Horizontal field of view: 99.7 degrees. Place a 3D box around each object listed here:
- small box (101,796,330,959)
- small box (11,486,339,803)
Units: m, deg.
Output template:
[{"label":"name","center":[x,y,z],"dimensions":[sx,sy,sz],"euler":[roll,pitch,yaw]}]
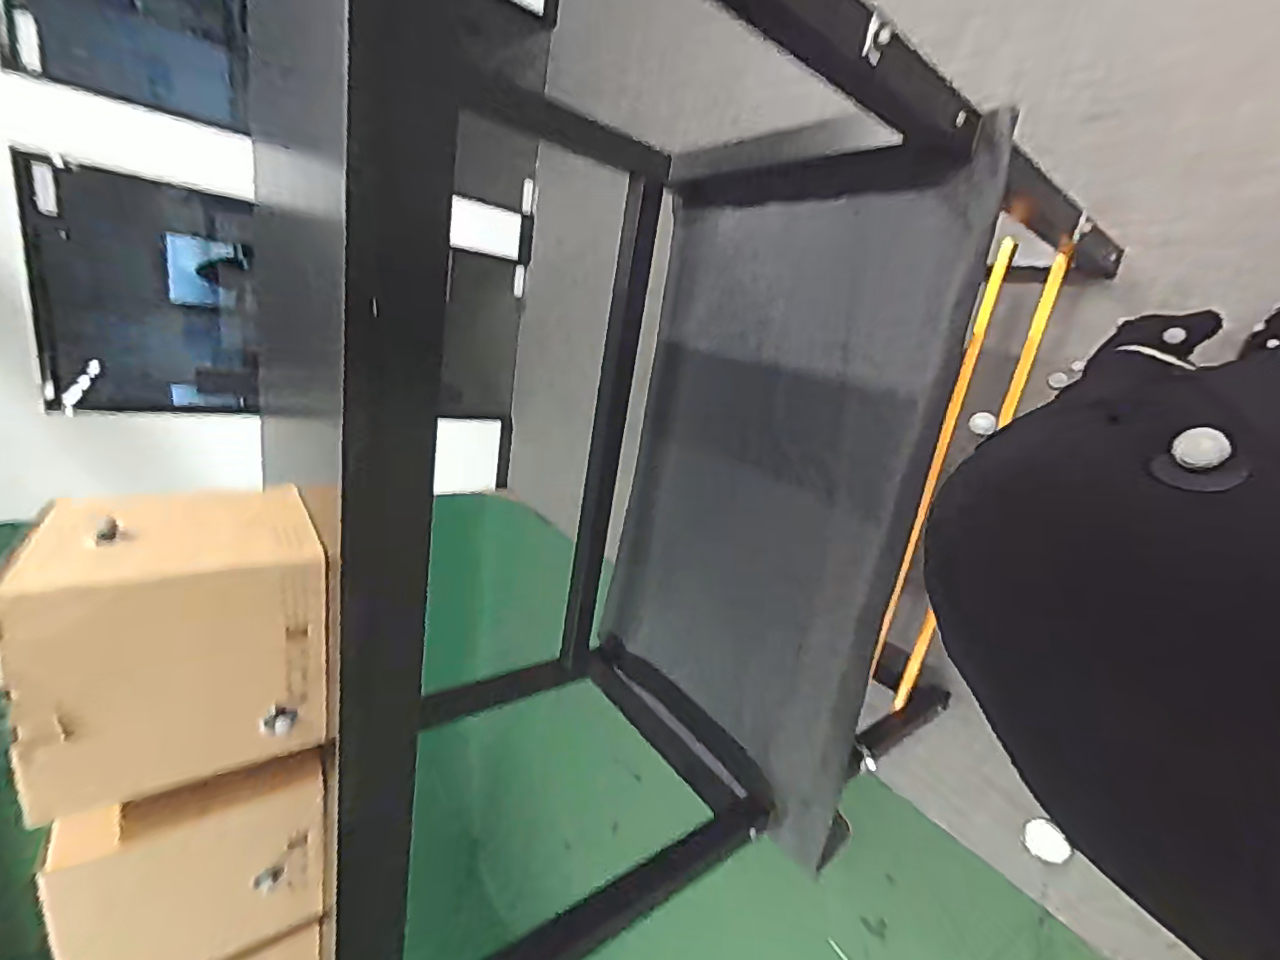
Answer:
[{"label":"small box","center":[-0.430,0.476,0.561],"dimensions":[0.179,0.176,0.168],"euler":[28,112,48]},{"label":"small box","center":[-0.351,0.105,0.439],"dimensions":[0.179,0.176,0.168],"euler":[26,112,49]}]
